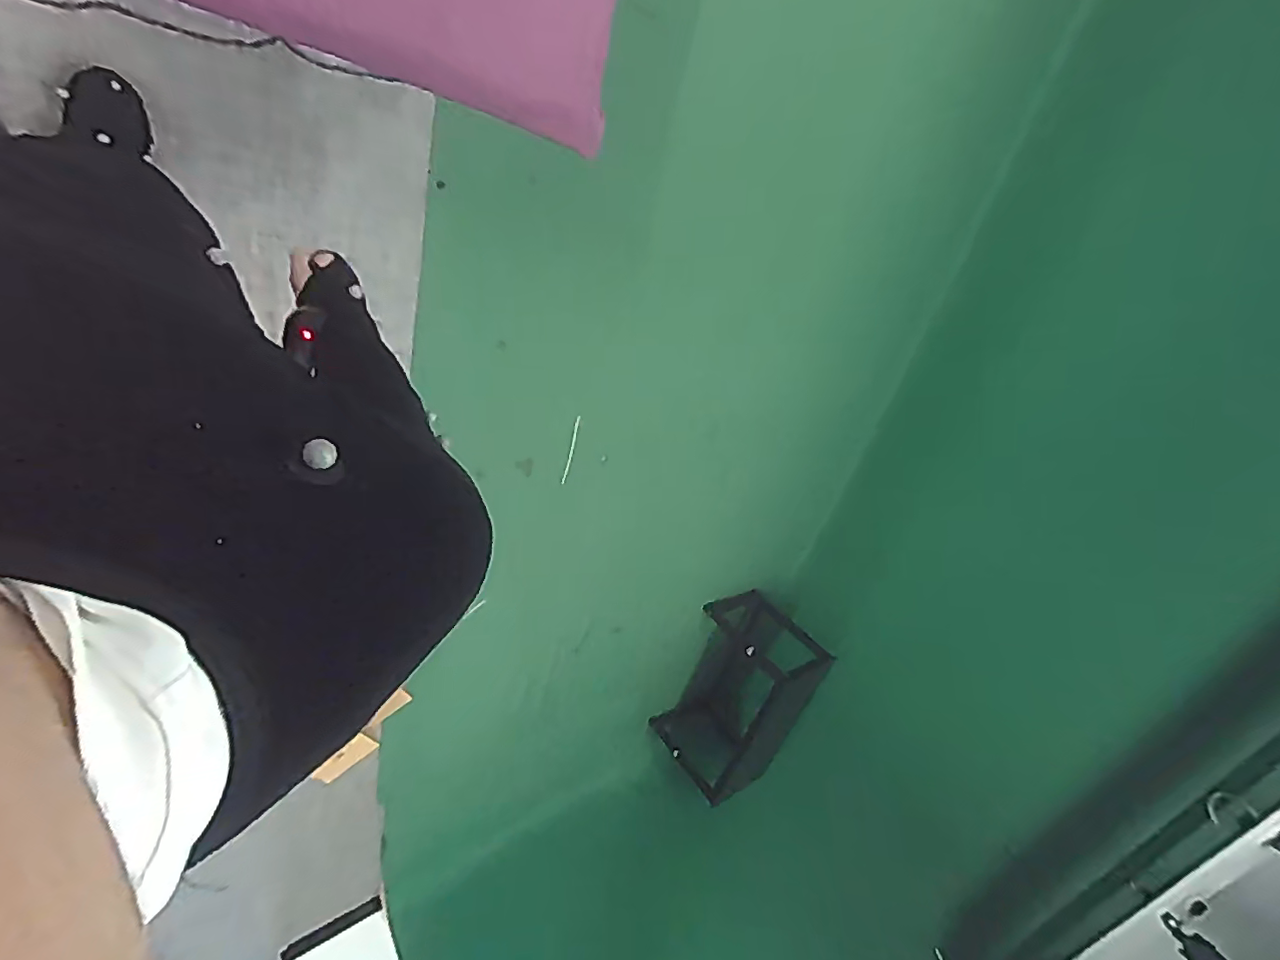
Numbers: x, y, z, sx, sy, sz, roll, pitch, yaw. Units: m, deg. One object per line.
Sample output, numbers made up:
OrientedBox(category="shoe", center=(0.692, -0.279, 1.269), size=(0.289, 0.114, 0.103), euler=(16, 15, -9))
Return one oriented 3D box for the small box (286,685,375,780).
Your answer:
OrientedBox(category="small box", center=(-0.969, 0.784, 1.686), size=(0.179, 0.176, 0.168), euler=(-34, 139, -19))
